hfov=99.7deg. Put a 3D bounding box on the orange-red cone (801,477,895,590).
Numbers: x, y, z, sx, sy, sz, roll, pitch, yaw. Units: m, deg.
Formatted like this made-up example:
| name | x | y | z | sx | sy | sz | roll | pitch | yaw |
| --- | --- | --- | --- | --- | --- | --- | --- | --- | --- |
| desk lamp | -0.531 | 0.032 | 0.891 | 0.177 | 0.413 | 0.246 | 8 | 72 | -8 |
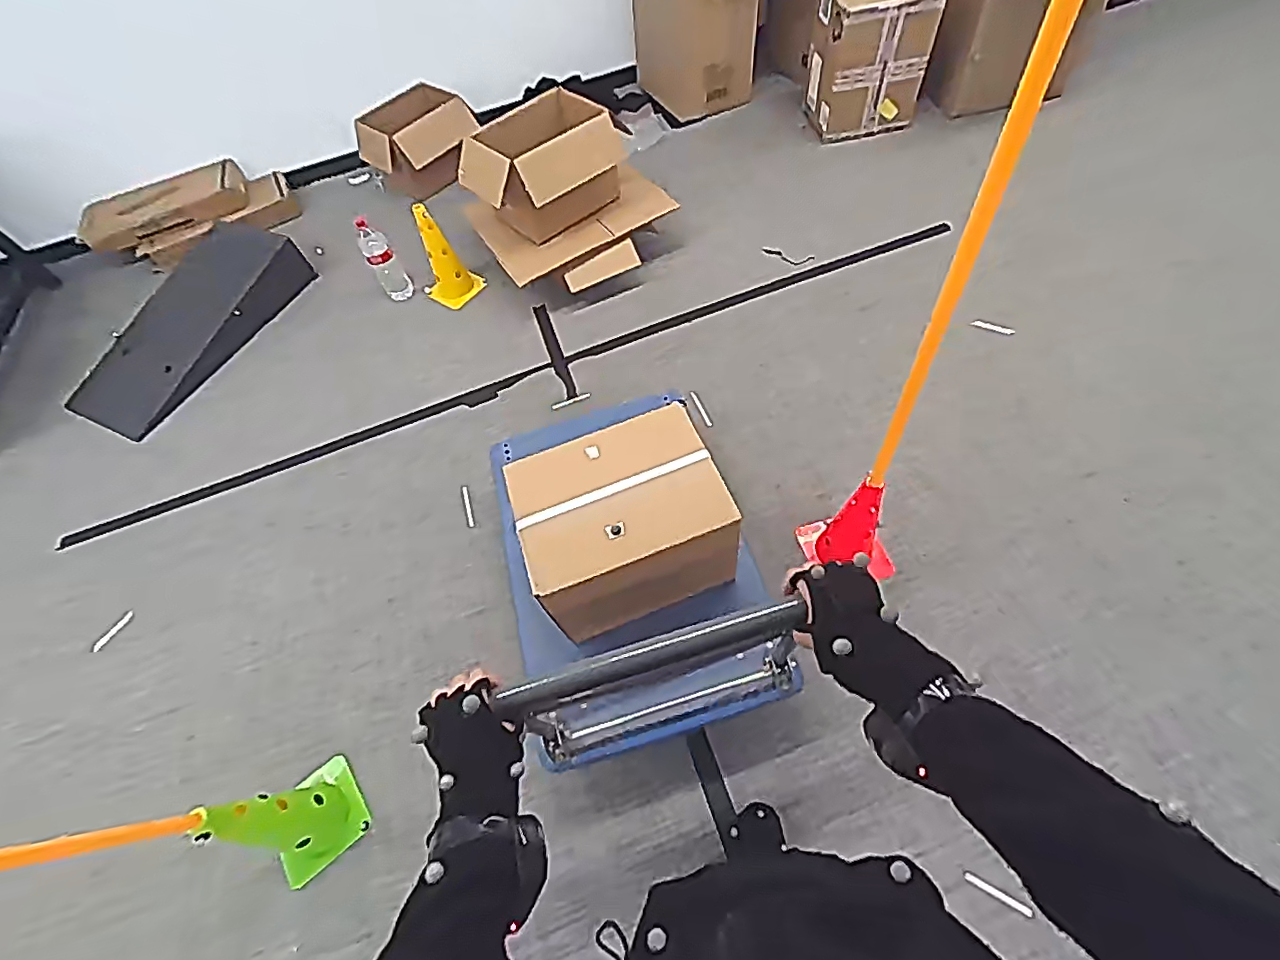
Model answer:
| name | x | y | z | sx | sy | sz | roll | pitch | yaw |
| --- | --- | --- | --- | --- | --- | --- | --- | --- | --- |
| orange-red cone | 0.533 | 0.098 | 1.300 | 0.199 | 0.360 | 0.198 | -14 | 58 | -2 |
